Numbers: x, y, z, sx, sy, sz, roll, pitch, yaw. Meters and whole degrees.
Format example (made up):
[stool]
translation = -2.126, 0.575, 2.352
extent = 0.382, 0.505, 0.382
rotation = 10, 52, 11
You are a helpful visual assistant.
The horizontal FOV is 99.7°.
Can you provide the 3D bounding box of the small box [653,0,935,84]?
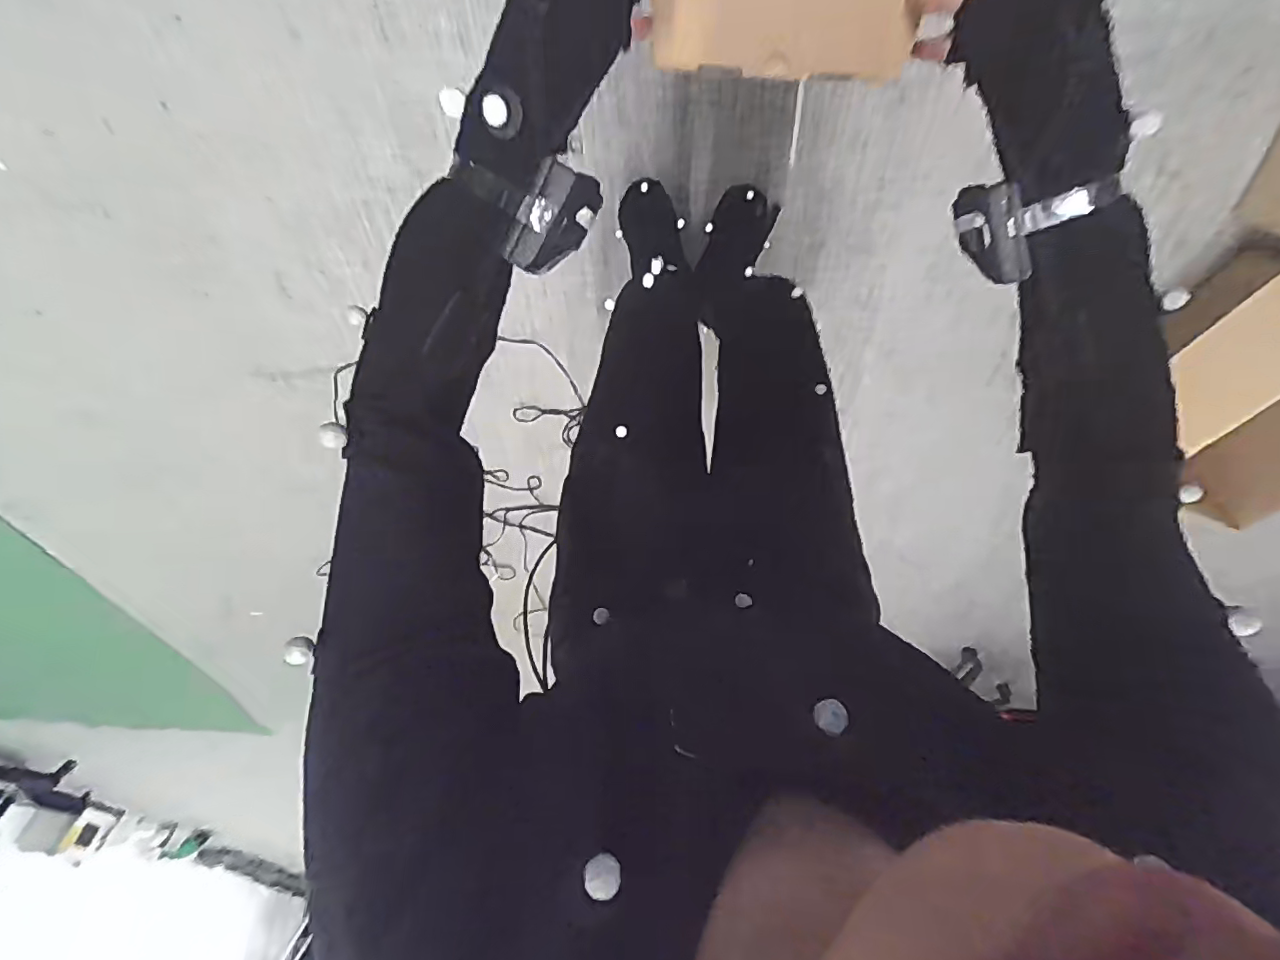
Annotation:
[small box]
translation = 0.095, -0.373, 0.337
extent = 0.168, 0.176, 0.179
rotation = 3, 136, 0
